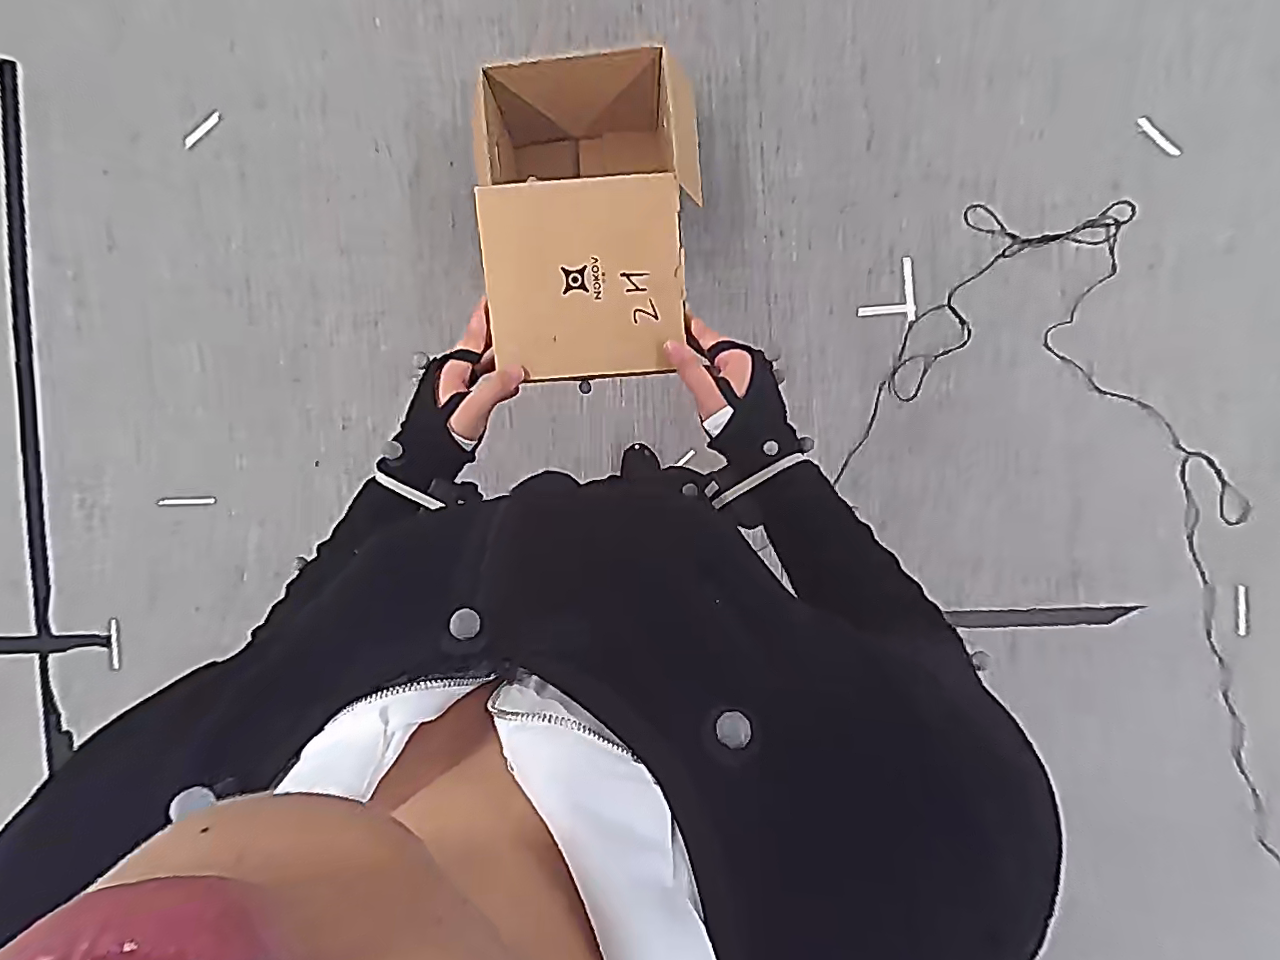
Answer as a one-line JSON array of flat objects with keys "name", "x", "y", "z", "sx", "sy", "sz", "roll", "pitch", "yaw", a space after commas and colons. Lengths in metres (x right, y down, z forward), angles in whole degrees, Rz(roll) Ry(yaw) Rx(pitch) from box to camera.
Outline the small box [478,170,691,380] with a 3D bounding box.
[{"name": "small box", "x": -0.047, "y": -0.188, "z": 0.543, "sx": 0.179, "sy": 0.176, "sz": 0.168, "roll": -4, "pitch": 101, "yaw": -1}]
